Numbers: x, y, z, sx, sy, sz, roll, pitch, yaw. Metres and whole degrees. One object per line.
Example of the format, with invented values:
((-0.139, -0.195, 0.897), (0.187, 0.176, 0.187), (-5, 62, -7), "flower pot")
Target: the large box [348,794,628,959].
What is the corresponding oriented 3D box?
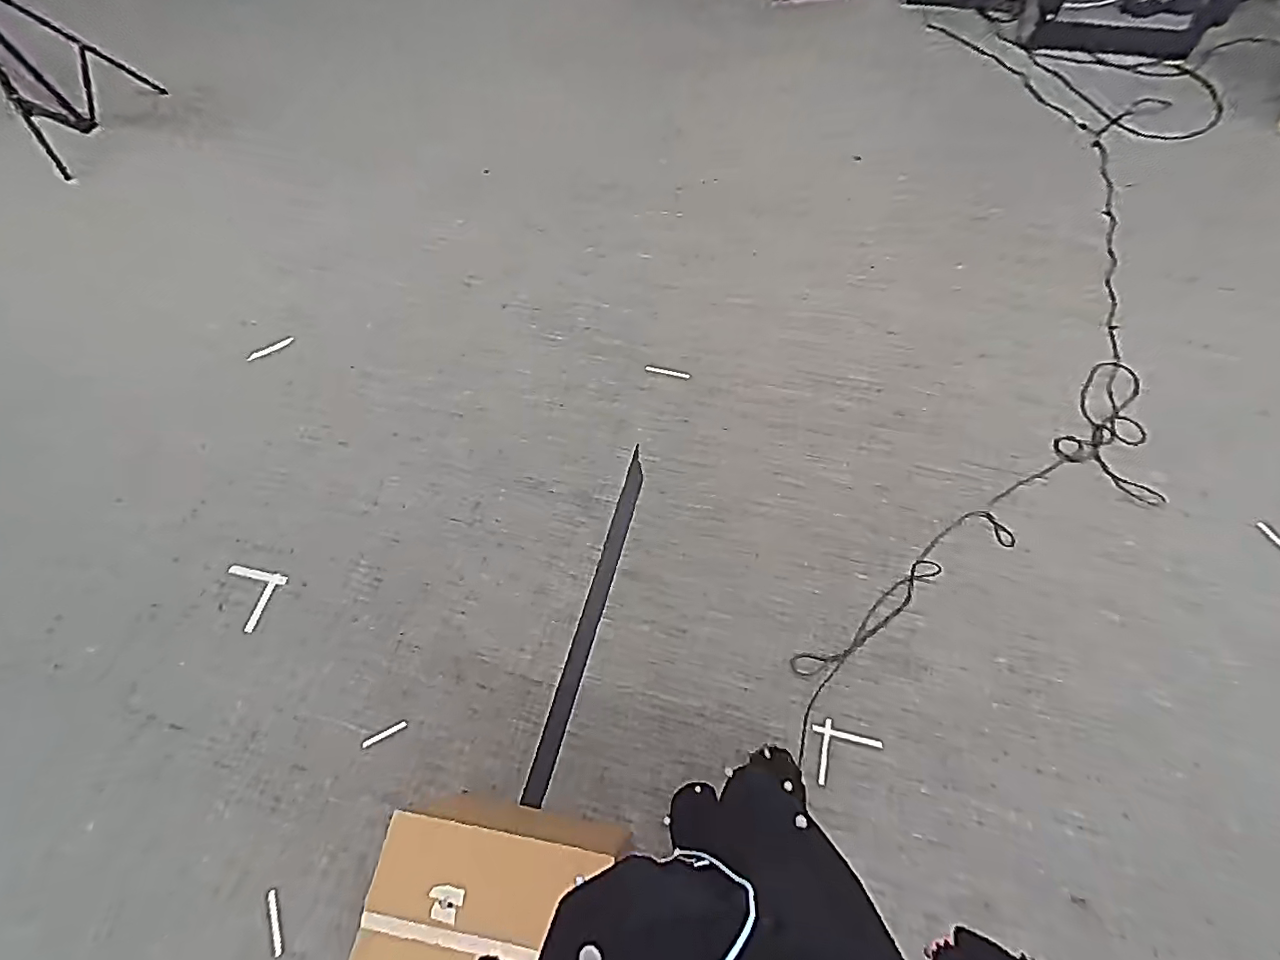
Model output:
((-0.253, 0.806, 1.004), (0.408, 0.320, 0.320), (7, 64, 9), "large box")
